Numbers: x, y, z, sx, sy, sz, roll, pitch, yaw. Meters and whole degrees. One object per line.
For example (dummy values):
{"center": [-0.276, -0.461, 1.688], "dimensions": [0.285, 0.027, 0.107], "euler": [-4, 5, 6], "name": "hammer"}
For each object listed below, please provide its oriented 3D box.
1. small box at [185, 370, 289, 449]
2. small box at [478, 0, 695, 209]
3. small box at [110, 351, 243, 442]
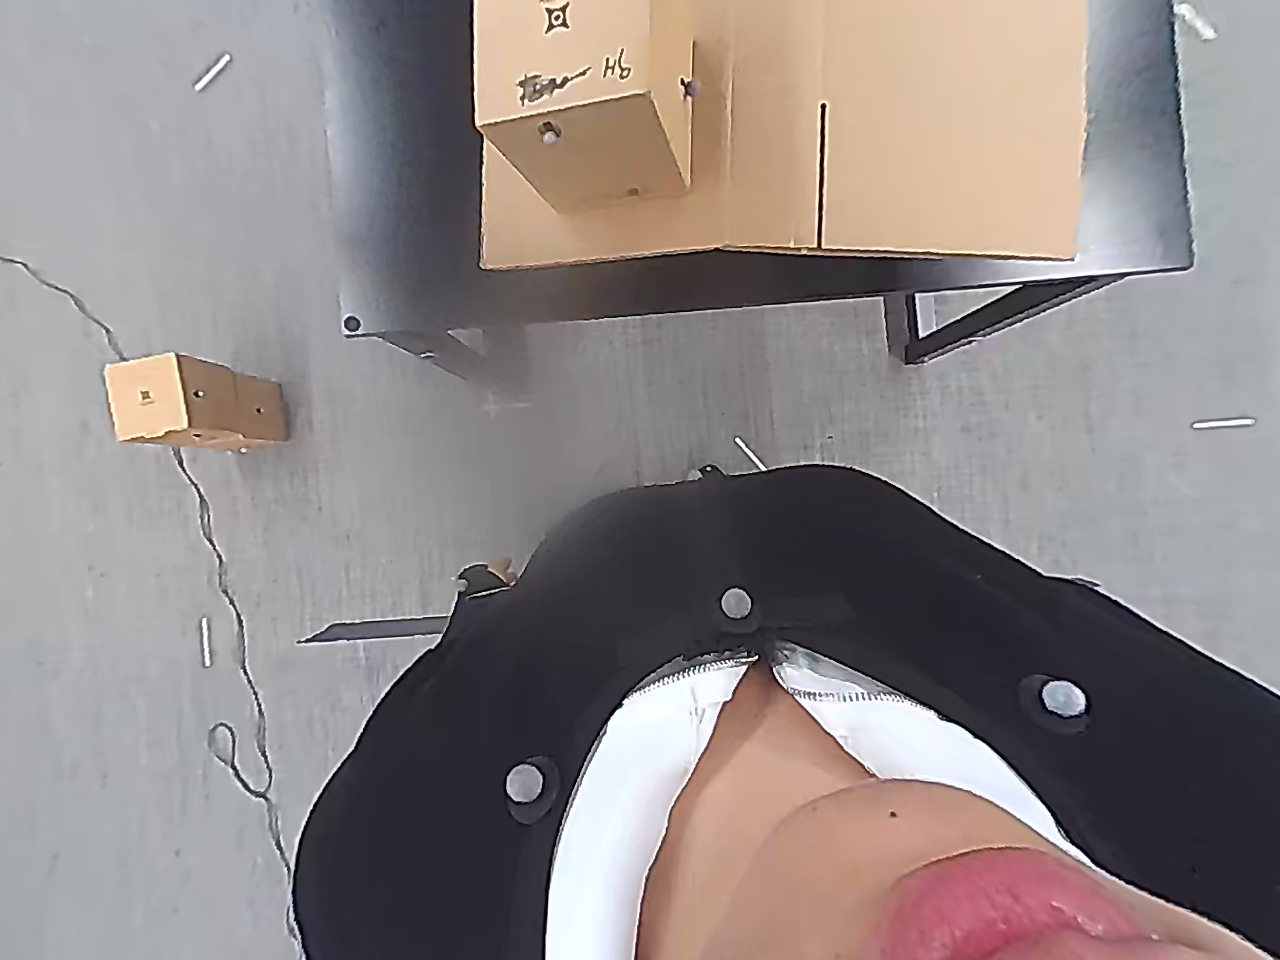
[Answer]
{"center": [-1.083, -0.183, 1.448], "dimensions": [0.168, 0.176, 0.179], "euler": [-8, 91, 2], "name": "small box"}
{"center": [-0.042, -0.404, 0.540], "dimensions": [0.168, 0.176, 0.179], "euler": [1, 90, 17], "name": "small box"}
{"center": [-1.089, -0.188, 1.286], "dimensions": [0.168, 0.176, 0.179], "euler": [-11, 89, 0], "name": "small box"}
